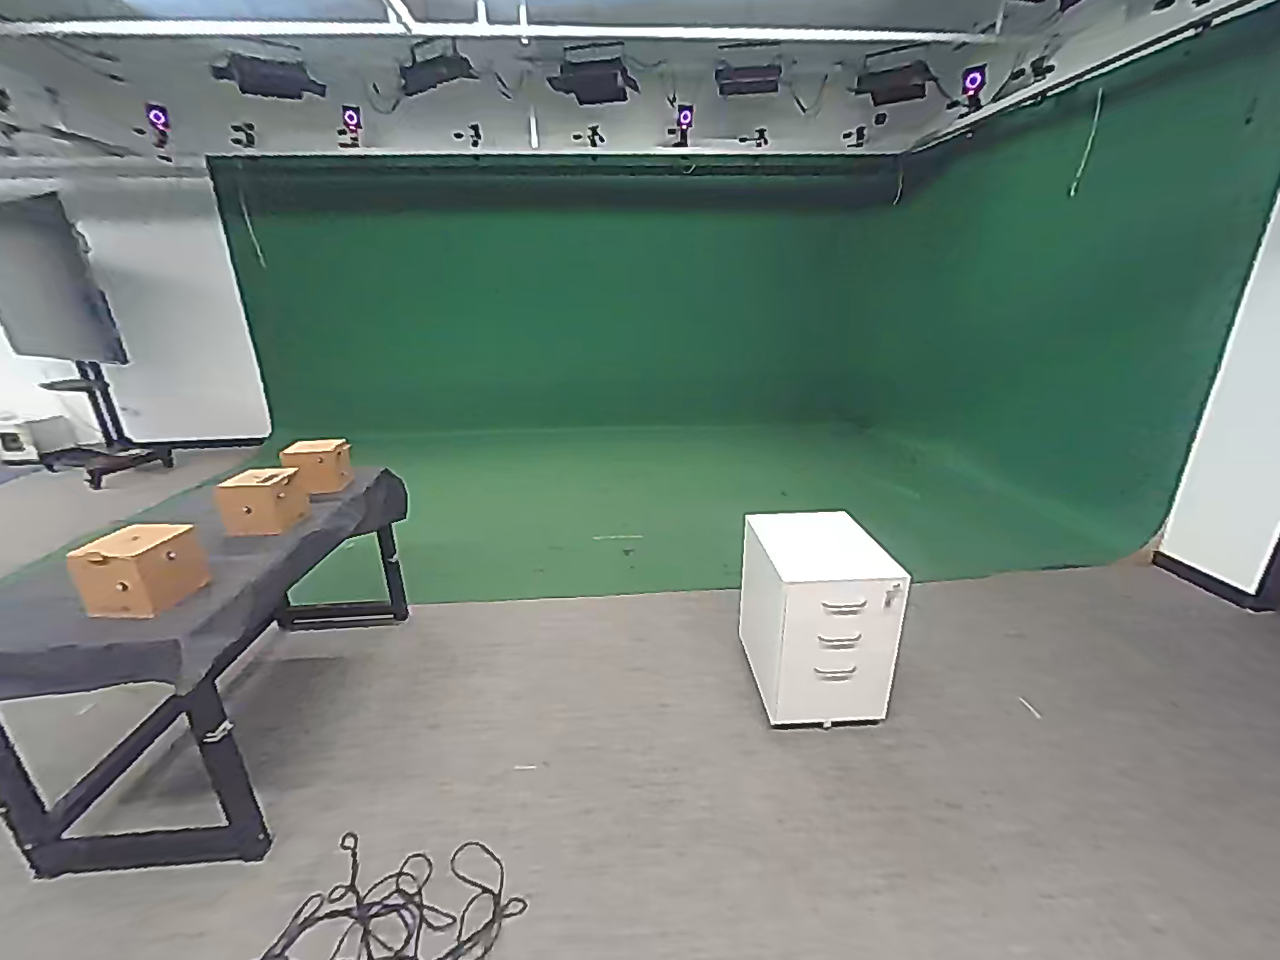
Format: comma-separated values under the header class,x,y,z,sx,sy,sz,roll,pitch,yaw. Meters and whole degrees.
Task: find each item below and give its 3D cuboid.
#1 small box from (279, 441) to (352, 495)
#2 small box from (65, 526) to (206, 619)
class,x,y,z,sx,sy,sz,roll,pitch,yaw
small box,-1.239,-0.046,2.076,0.179,0.176,0.168,-4,20,-8
small box,-1.214,0.224,1.321,0.168,0.176,0.179,1,18,3
